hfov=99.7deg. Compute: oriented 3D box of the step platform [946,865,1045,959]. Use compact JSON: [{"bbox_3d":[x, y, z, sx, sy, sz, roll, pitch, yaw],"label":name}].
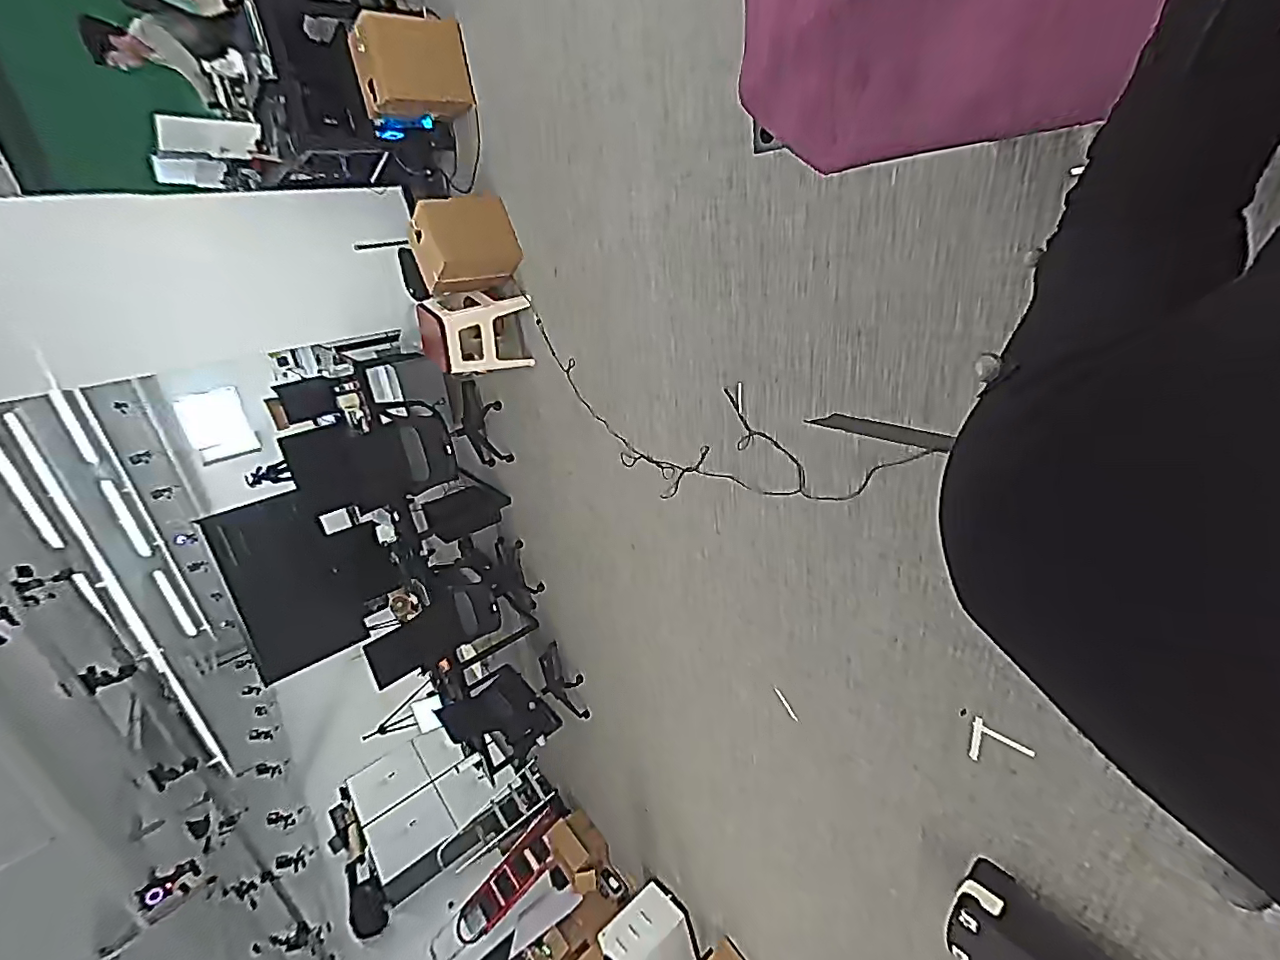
[{"bbox_3d":[1.266,1.500,1.552,0.684,0.204,0.286,22,127,46],"label":"step platform"}]
